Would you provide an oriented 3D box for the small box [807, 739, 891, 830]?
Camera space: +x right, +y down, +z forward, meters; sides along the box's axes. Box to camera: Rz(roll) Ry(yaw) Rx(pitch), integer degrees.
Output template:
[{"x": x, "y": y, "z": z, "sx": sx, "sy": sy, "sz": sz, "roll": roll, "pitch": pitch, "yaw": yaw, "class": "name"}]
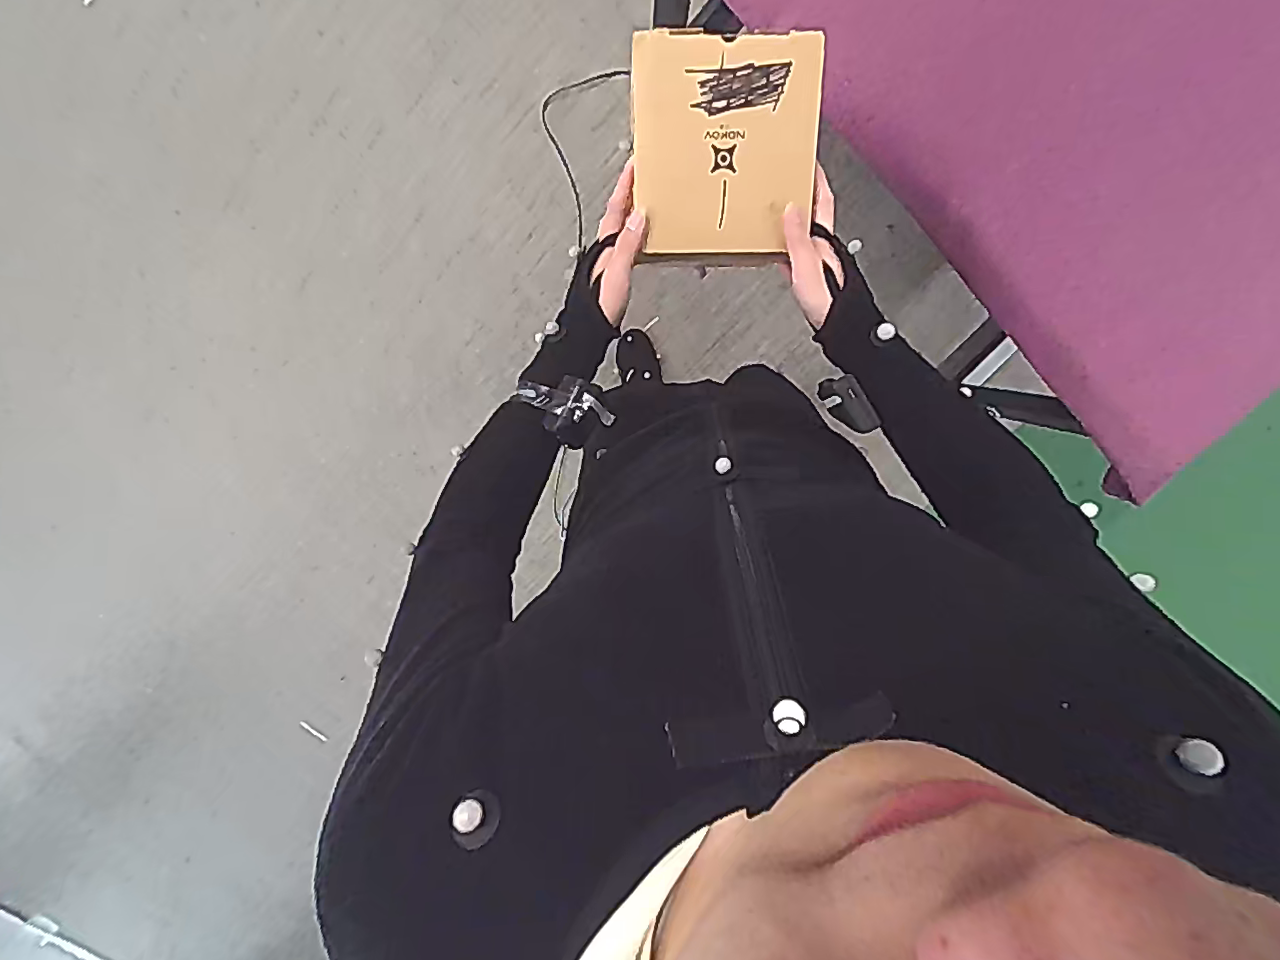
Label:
[{"x": 0.696, "y": 1.018, "z": 1.821, "sx": 0.168, "sy": 0.176, "sz": 0.179, "roll": -43, "pitch": 101, "yaw": 9, "class": "small box"}]
